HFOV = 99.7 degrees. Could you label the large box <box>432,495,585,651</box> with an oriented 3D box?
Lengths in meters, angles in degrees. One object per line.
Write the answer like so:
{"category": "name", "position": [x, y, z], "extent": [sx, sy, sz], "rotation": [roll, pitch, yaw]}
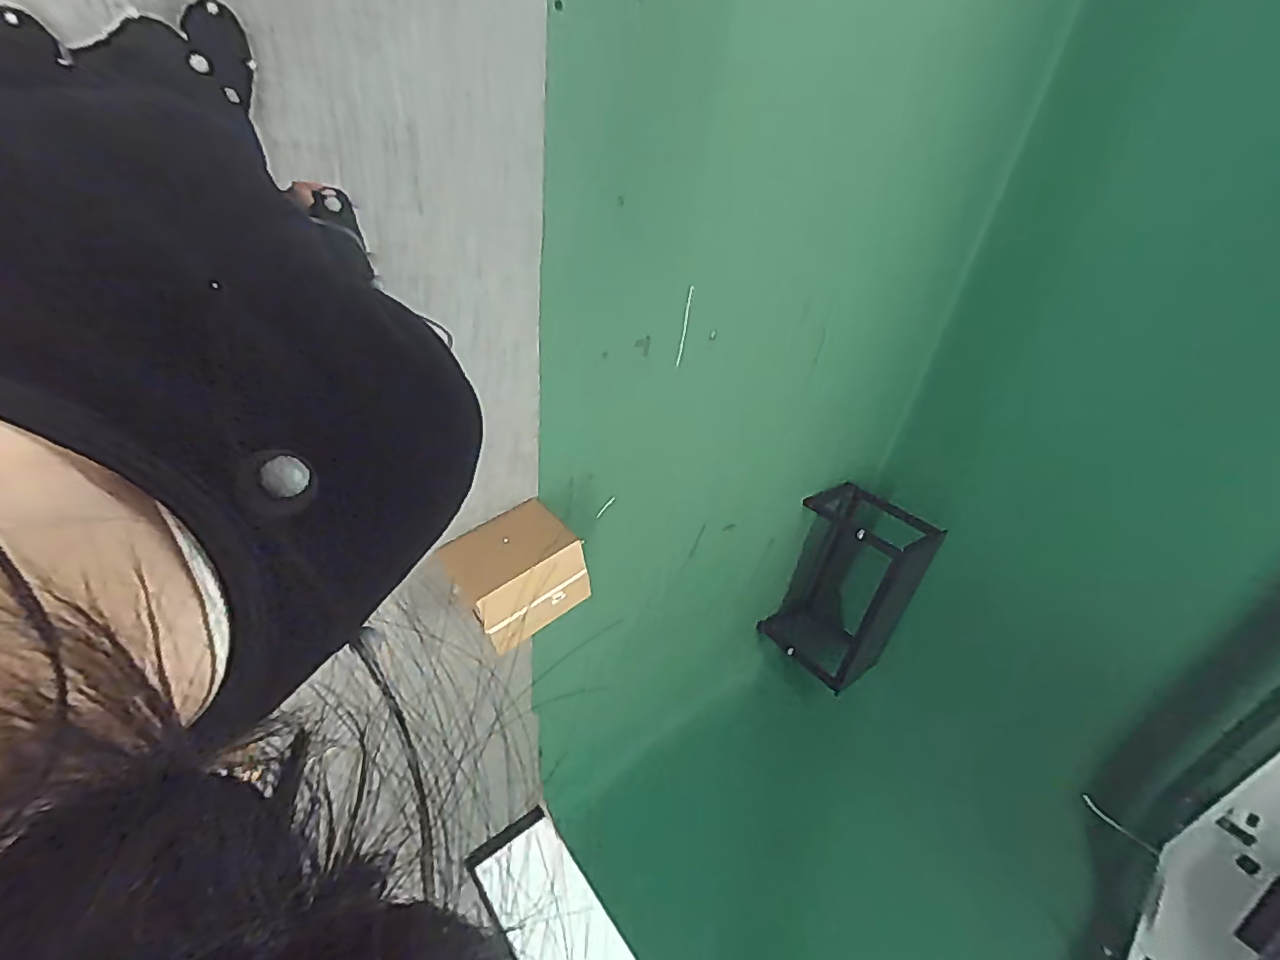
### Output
{"category": "large box", "position": [-0.466, 0.323, 1.962], "extent": [0.408, 0.320, 0.320], "rotation": [-32, 138, -28]}
